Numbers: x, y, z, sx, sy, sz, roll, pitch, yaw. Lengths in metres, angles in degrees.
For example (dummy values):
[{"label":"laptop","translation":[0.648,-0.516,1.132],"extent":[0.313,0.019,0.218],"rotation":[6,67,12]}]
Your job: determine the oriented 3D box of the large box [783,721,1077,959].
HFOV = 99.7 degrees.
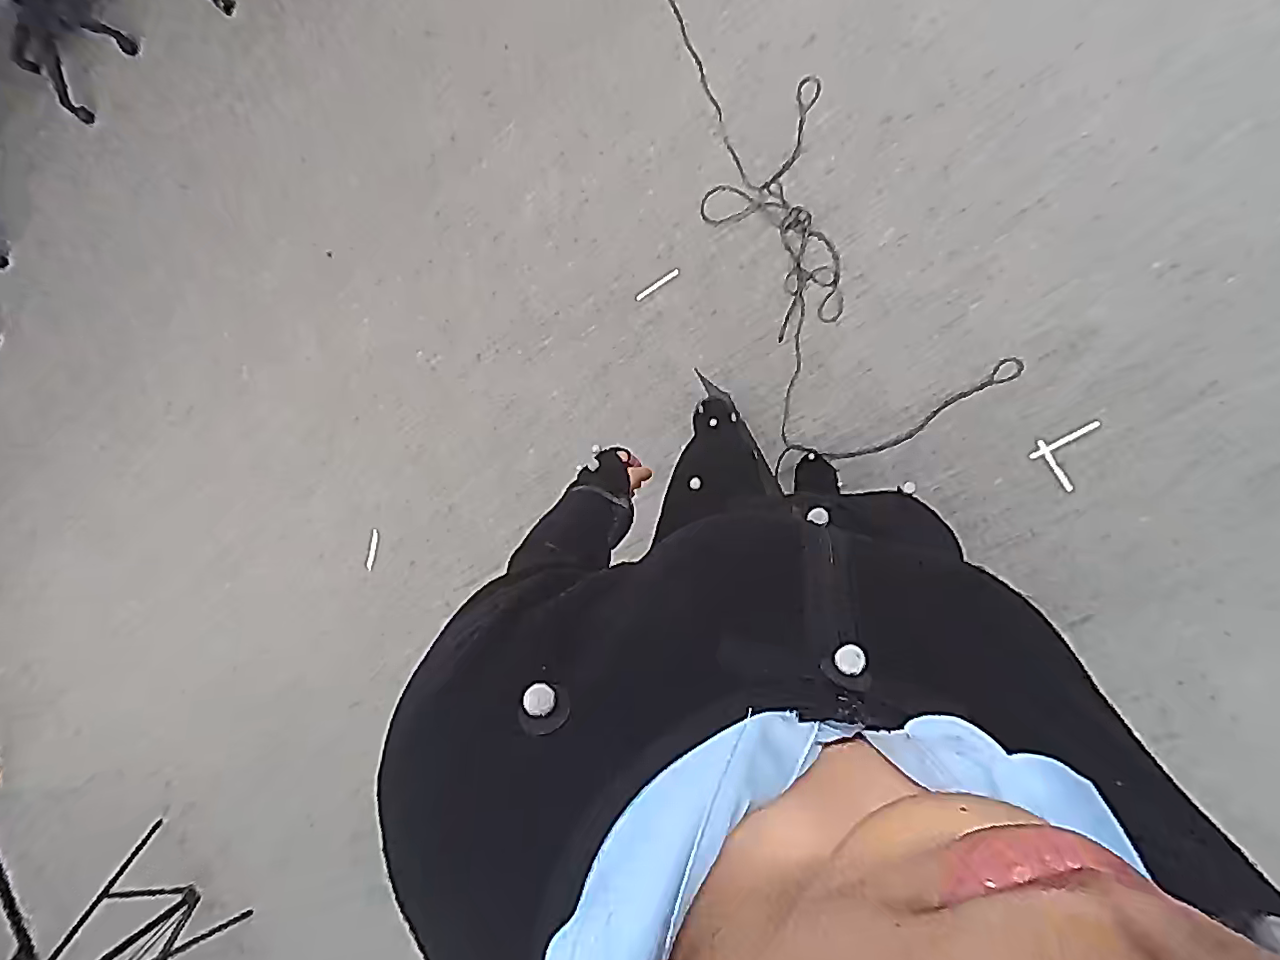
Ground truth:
[{"label":"large box","translation":[0.560,0.773,1.127],"extent":[0.408,0.320,0.320],"rotation":[-29,83,19]}]
